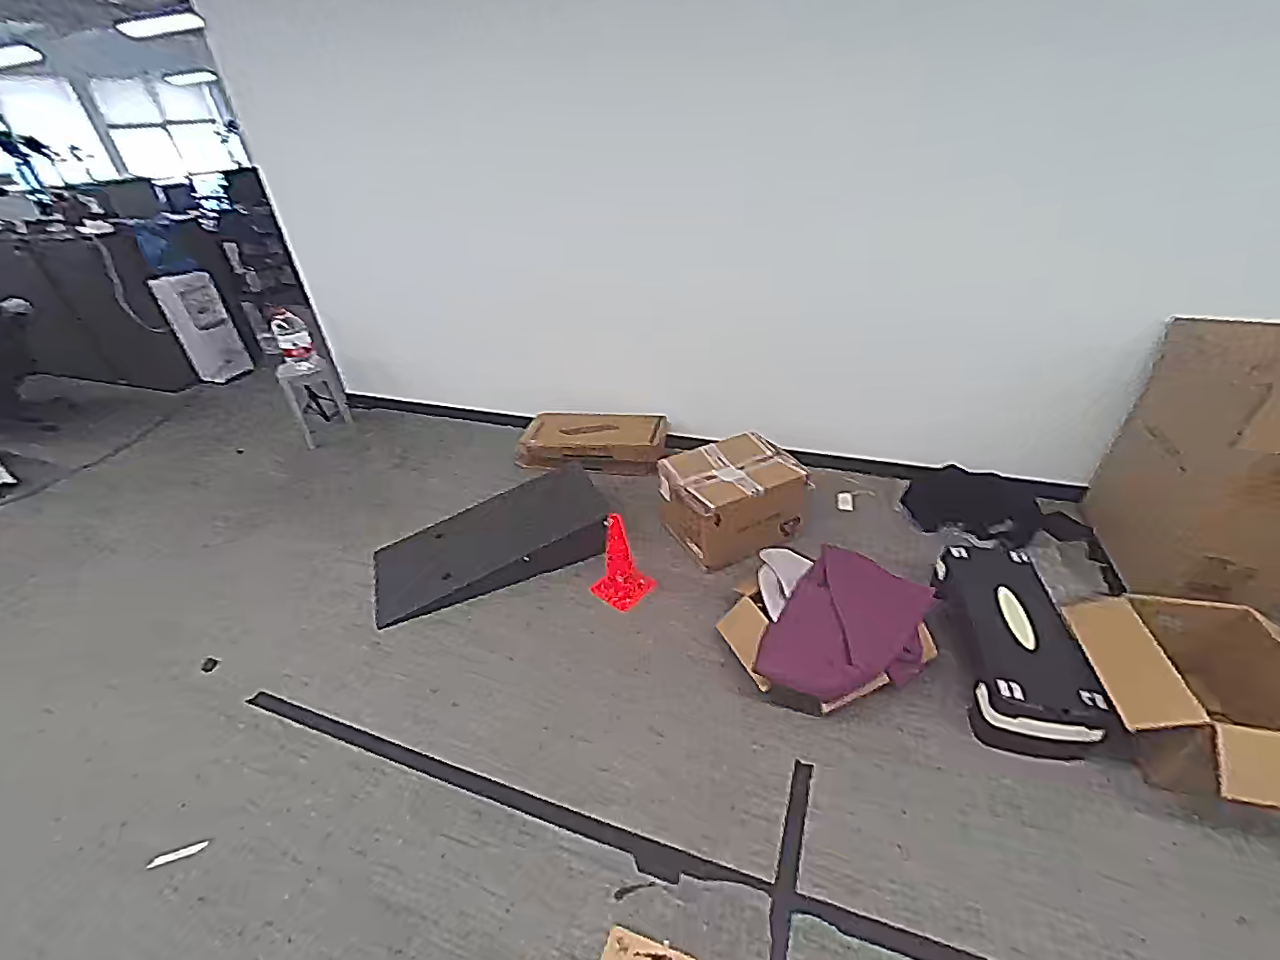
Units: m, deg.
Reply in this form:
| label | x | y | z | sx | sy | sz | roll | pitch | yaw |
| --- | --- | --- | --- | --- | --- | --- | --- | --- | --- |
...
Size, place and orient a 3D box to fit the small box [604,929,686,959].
| label | x | y | z | sx | sy | sz | roll | pitch | yaw |
| --- | --- | --- | --- | --- | --- | --- | --- | --- | --- |
| small box | 0.007 | 0.939 | 0.936 | 0.168 | 0.176 | 0.179 | 8 | 37 | 19 |
